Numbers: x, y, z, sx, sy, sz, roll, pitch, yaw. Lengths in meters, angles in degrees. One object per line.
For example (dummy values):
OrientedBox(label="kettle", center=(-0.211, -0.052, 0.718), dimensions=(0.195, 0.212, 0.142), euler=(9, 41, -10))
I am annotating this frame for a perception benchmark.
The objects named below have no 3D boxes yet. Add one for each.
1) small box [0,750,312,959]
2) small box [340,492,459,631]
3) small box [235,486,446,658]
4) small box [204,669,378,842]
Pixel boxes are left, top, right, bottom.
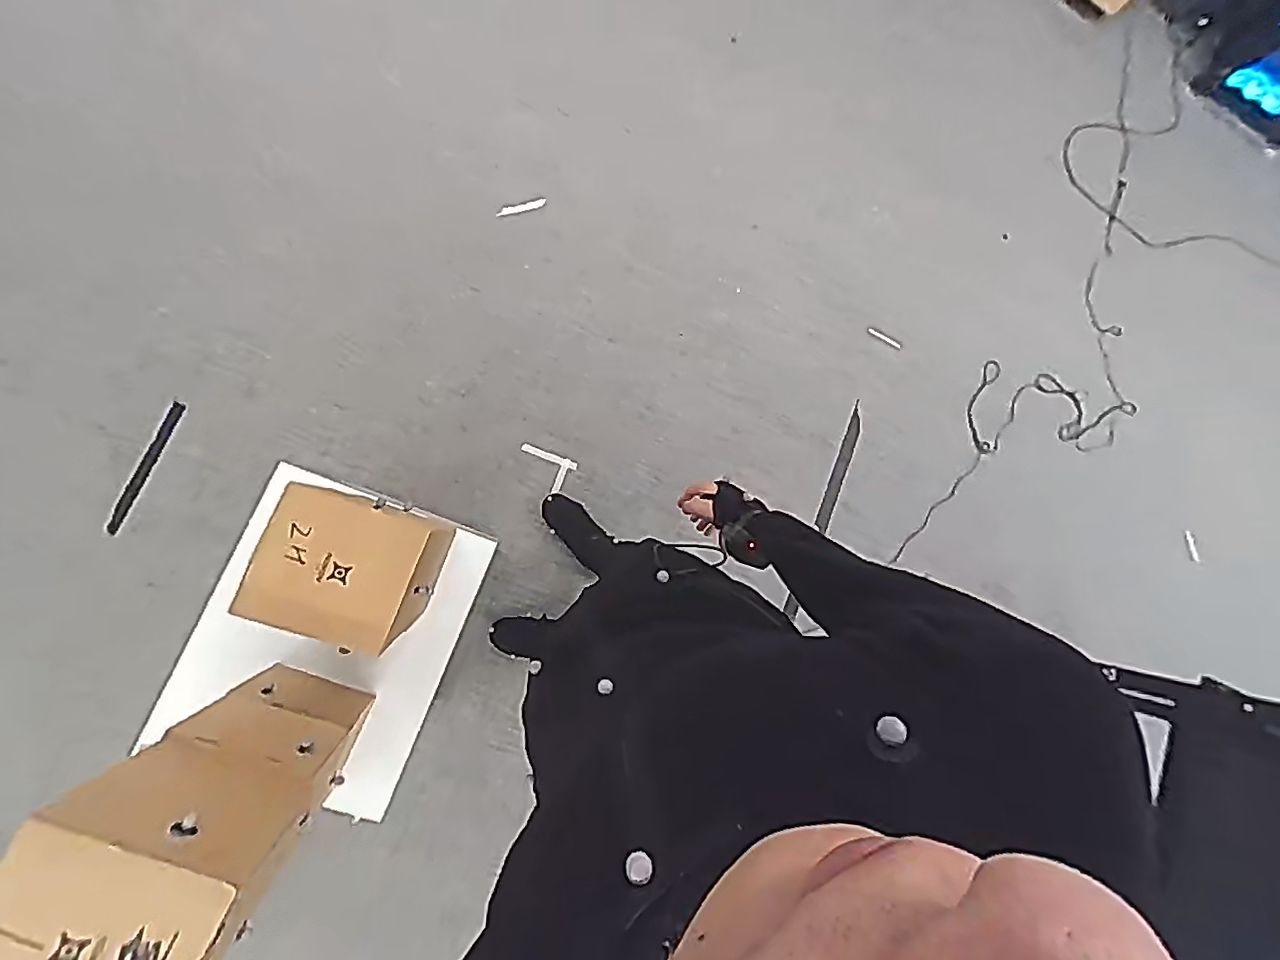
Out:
OrientedBox(label="small box", center=(-0.457, 0.389, 0.514), dimensions=(0.179, 0.176, 0.168), euler=(26, 80, -9))
OrientedBox(label="small box", center=(-0.416, 0.130, 0.885), dimensions=(0.179, 0.176, 0.168), euler=(20, 82, -10))
OrientedBox(label="small box", center=(-0.378, 0.116, 0.724), dimensions=(0.179, 0.176, 0.168), euler=(21, 81, -11))
OrientedBox(label="small box", center=(-0.535, 0.409, 0.833), dimensions=(0.179, 0.176, 0.168), euler=(23, 80, -10))
